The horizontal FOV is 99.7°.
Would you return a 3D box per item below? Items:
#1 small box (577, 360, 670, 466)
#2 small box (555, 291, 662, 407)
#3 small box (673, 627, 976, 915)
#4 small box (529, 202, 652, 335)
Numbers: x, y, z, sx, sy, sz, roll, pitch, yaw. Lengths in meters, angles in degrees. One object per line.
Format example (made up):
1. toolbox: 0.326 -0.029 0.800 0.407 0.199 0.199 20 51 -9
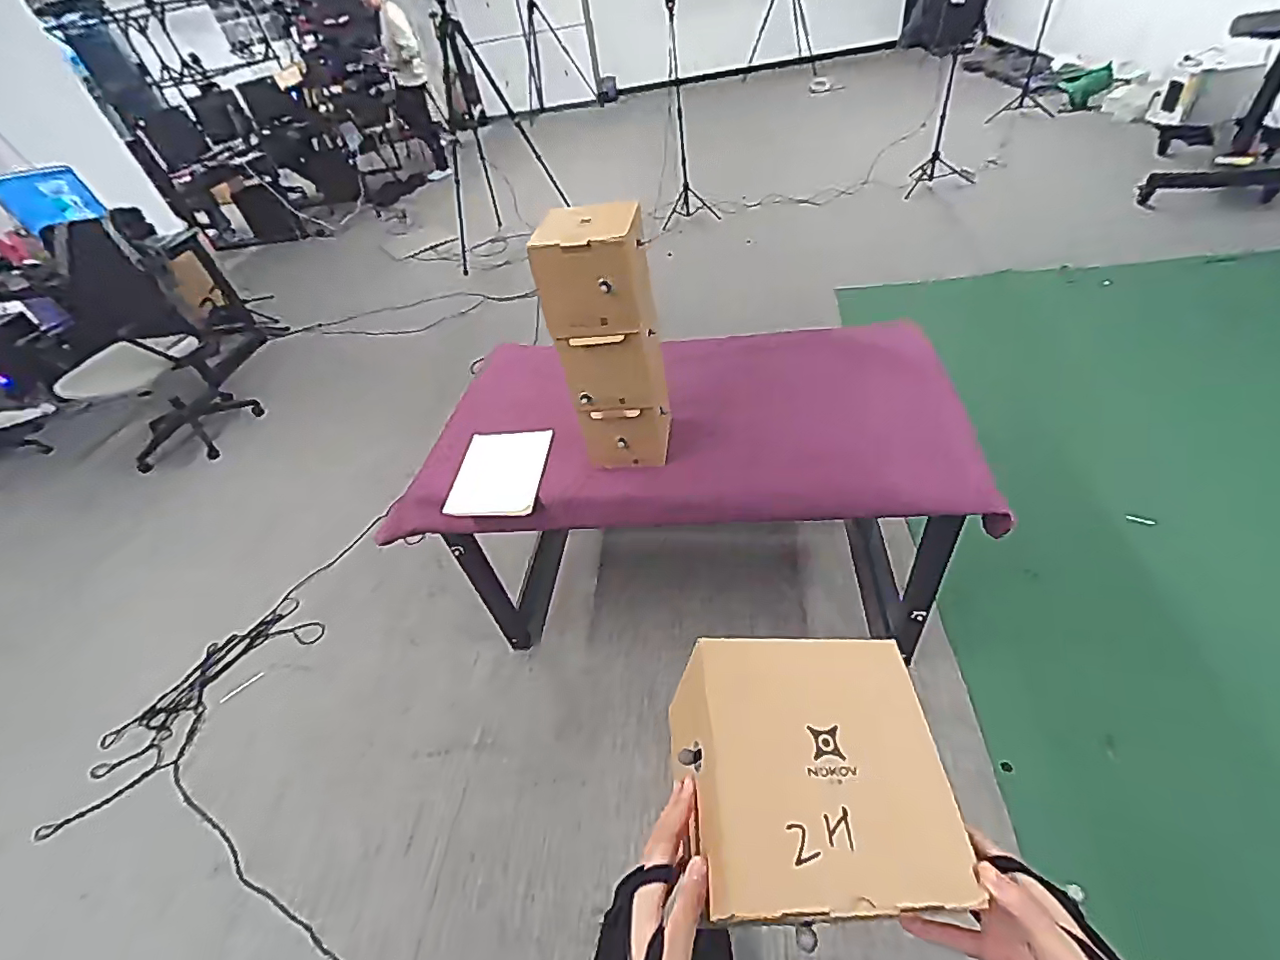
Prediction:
1. small box: -0.027 -0.143 1.194 0.168 0.176 0.179 -1 45 11
2. small box: -0.052 -0.256 1.076 0.168 0.176 0.179 -1 43 11
3. small box: 0.121 0.241 0.446 0.168 0.176 0.179 3 49 -4
4. small box: -0.076 -0.369 0.961 0.168 0.176 0.179 0 44 11
